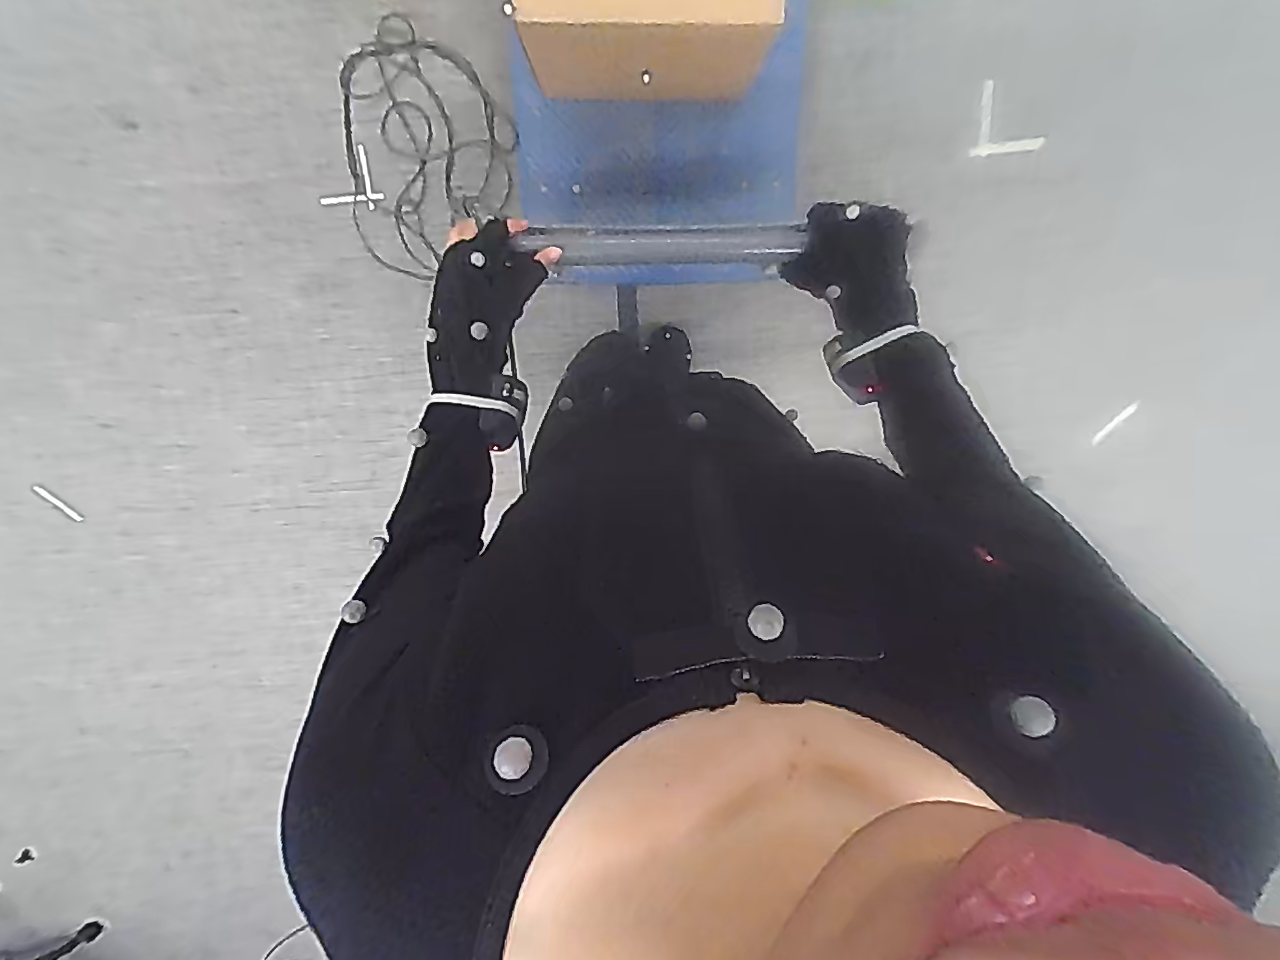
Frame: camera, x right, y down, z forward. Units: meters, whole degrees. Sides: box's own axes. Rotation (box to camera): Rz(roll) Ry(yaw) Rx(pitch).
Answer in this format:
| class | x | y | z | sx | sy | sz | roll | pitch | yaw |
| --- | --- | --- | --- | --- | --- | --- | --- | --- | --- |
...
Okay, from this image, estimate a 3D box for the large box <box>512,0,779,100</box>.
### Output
| class | x | y | z | sx | sy | sz | roll | pitch | yaw |
| --- | --- | --- | --- | --- | --- | --- | --- | --- | --- |
| large box | 0.008 | -0.868 | 0.907 | 0.408 | 0.320 | 0.320 | 0 | 107 | 0 |
